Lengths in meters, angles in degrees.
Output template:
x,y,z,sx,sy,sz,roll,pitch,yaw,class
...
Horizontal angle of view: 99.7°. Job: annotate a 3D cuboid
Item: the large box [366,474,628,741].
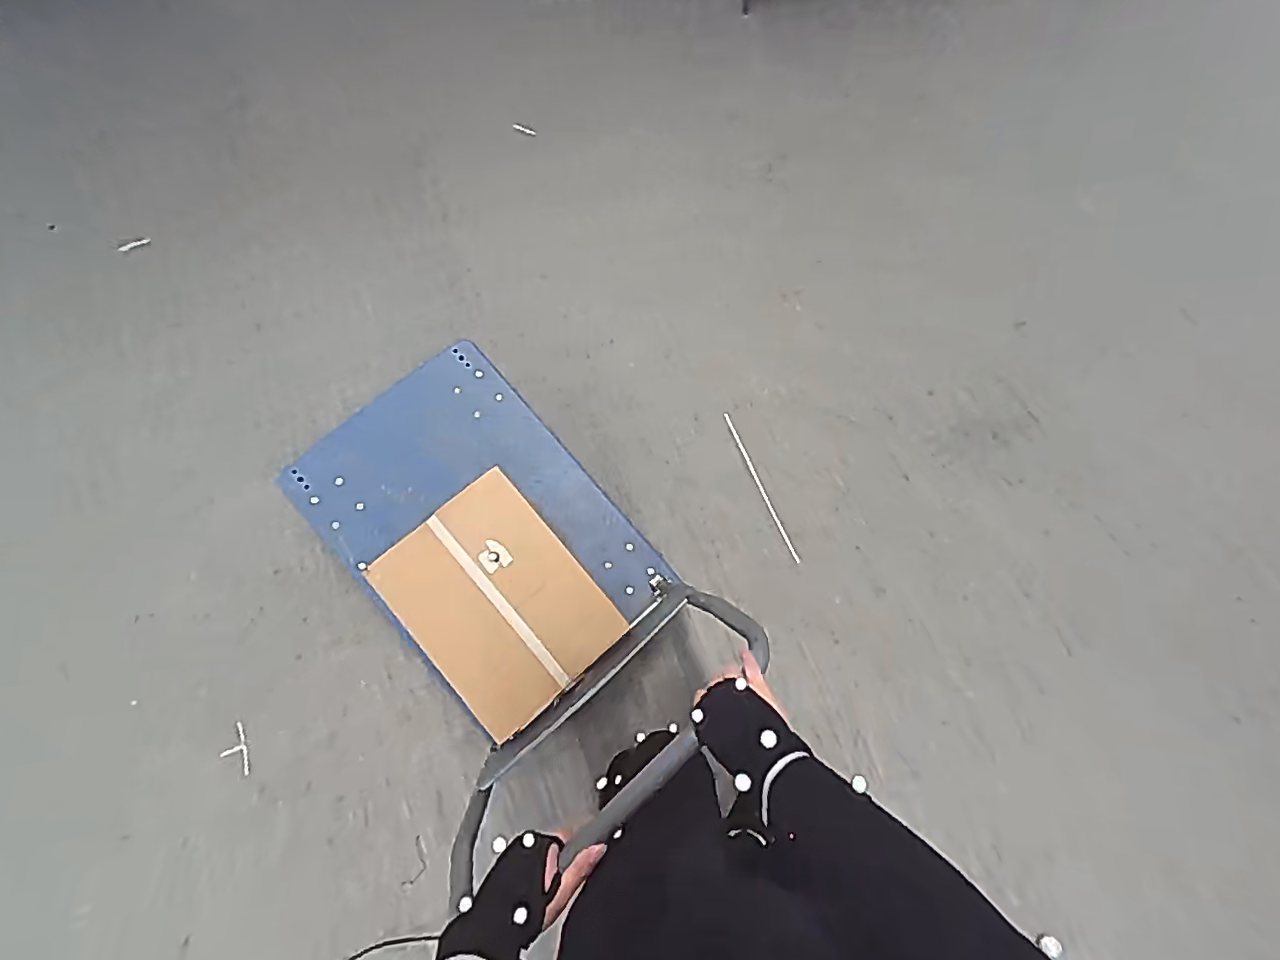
x,y,z,sx,sy,sz,roll,pitch,yaw,class
-0.271,0.254,1.149,0.320,0.320,0.408,-40,85,-11,large box
